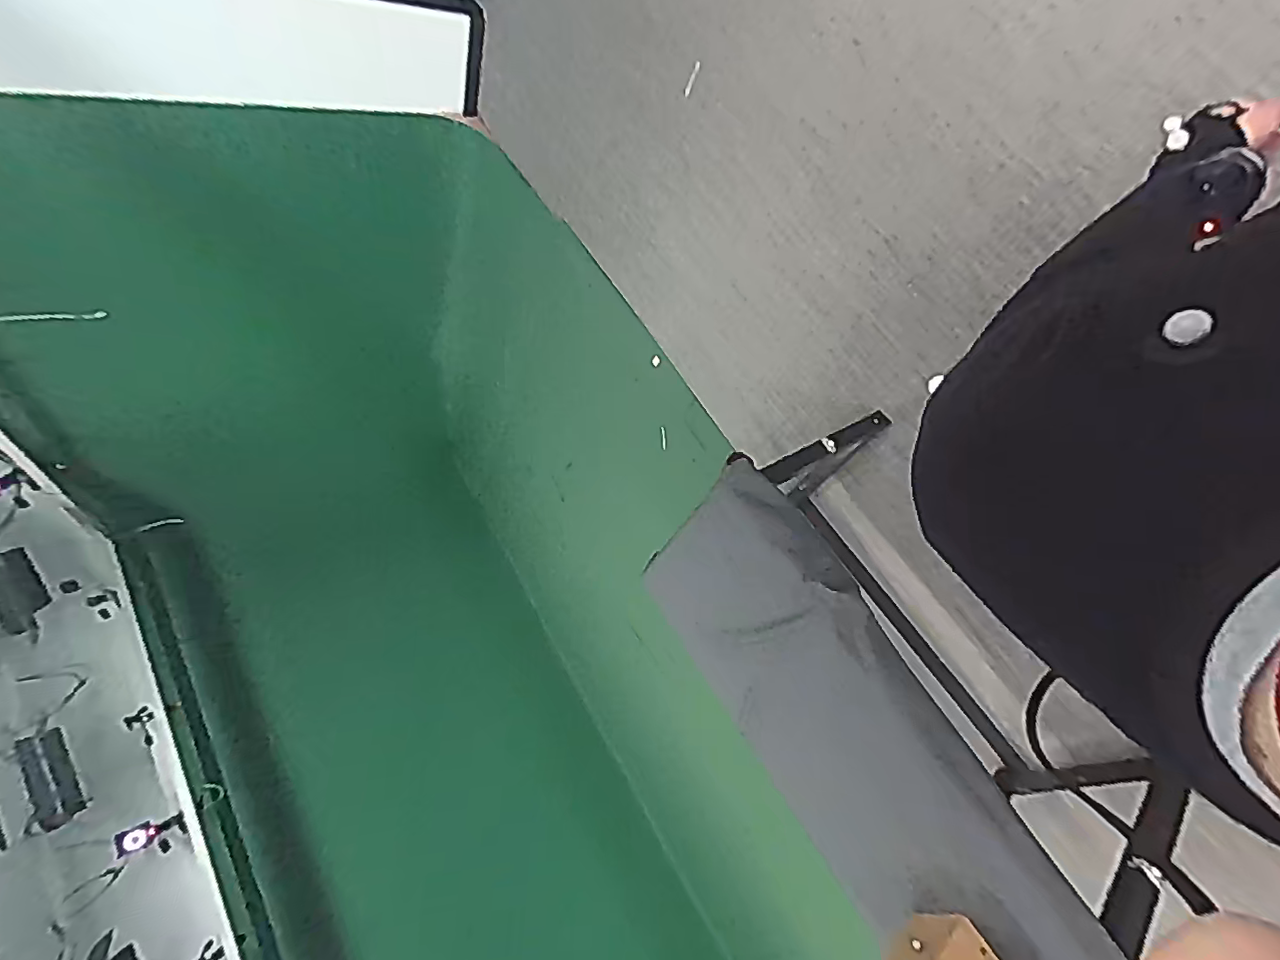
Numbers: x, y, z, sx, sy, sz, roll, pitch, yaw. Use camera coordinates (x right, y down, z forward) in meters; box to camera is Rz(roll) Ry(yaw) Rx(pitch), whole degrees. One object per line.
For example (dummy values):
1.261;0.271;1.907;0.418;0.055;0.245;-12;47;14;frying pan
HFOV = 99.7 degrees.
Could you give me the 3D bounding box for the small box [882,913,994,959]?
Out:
0.640;1.050;1.132;0.168;0.176;0.179;53;144;22;small box
